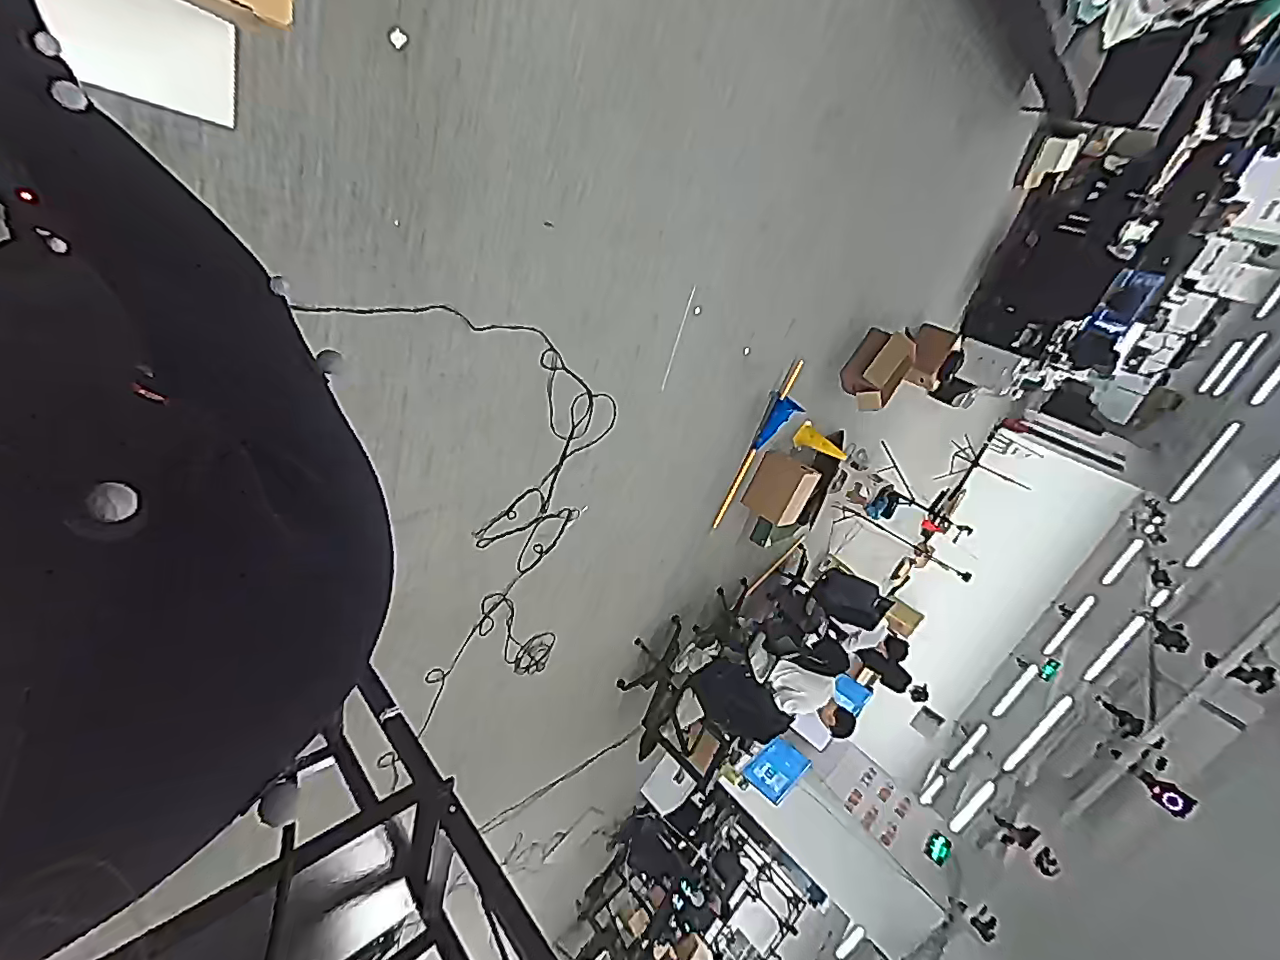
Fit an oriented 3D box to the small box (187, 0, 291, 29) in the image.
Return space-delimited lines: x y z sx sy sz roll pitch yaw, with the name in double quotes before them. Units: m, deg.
"small box" -0.407 -0.529 0.455 0.168 0.176 0.179 -6 125 -49
